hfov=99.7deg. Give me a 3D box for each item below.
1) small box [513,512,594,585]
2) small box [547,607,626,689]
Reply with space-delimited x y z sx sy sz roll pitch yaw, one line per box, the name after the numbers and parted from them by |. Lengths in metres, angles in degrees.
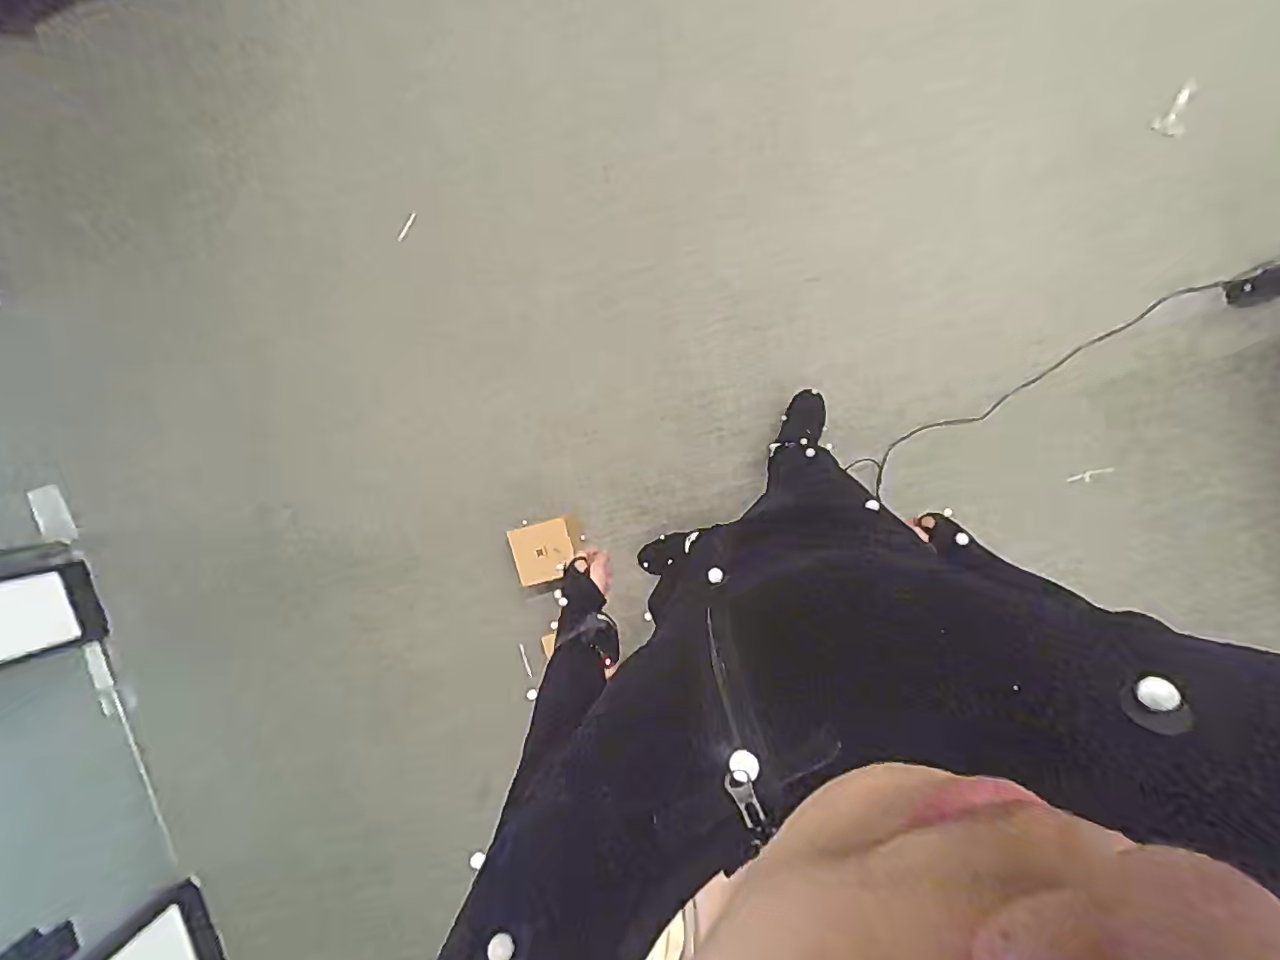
-0.253 0.201 1.620 0.179 0.176 0.168 -15 92 8 | small box
-0.156 0.500 1.629 0.179 0.176 0.168 -18 91 7 | small box
